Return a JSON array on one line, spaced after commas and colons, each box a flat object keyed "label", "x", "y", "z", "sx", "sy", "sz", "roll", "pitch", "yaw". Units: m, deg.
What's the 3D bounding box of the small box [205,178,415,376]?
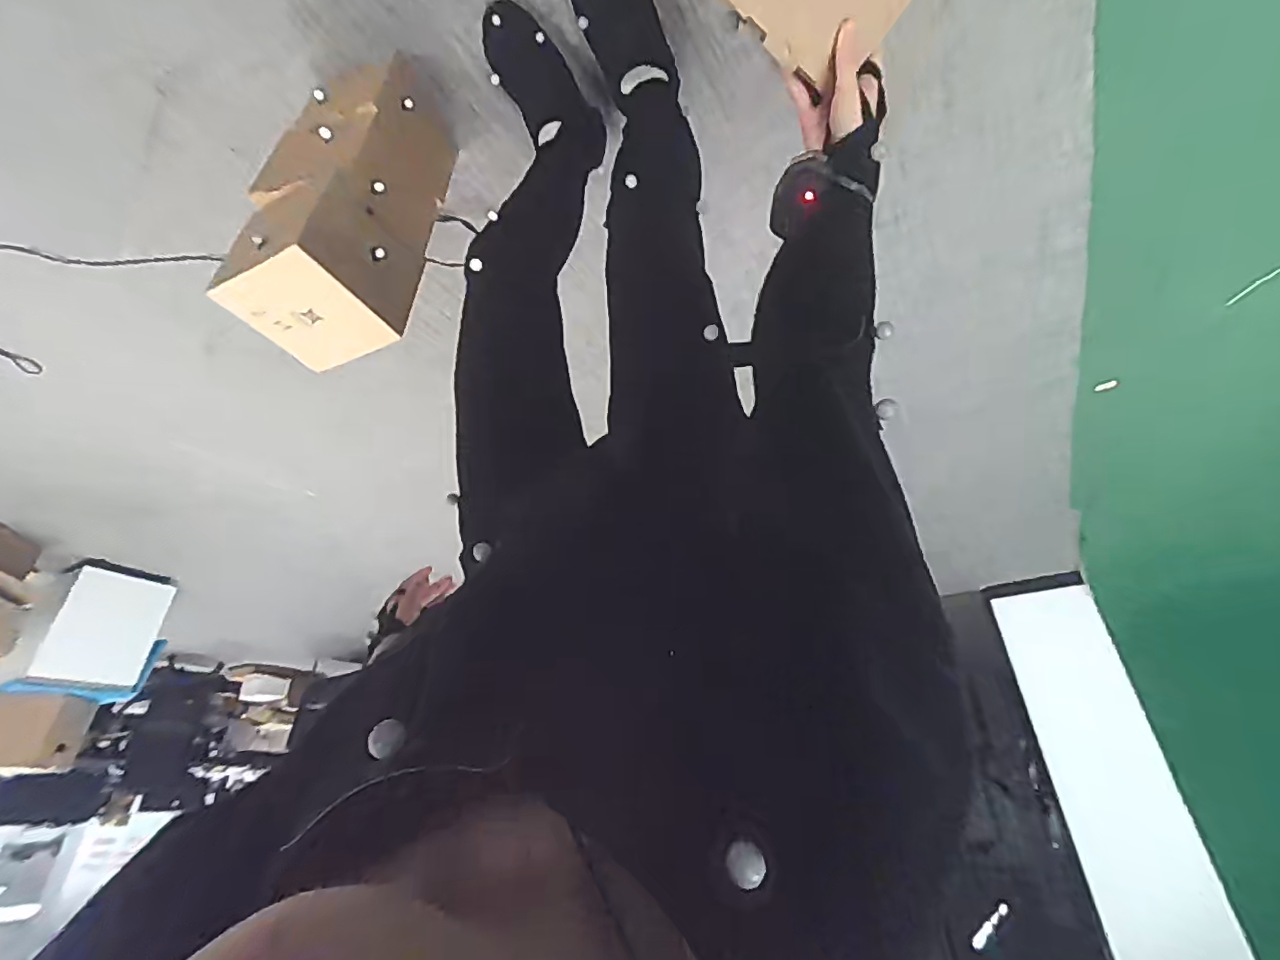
[{"label": "small box", "x": -0.441, "y": -0.279, "z": 0.755, "sx": 0.179, "sy": 0.176, "sz": 0.168, "roll": -12, "pitch": 146, "yaw": 21}]

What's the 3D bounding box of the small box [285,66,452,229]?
[{"label": "small box", "x": -0.446, "y": -0.561, "z": 0.918, "sx": 0.168, "sy": 0.176, "sz": 0.179, "roll": -9, "pitch": 149, "yaw": 14}]

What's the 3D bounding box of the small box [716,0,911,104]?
[{"label": "small box", "x": 0.145, "y": -0.492, "z": 0.470, "sx": 0.168, "sy": 0.176, "sz": 0.179, "roll": 7, "pitch": 141, "yaw": -41}]
